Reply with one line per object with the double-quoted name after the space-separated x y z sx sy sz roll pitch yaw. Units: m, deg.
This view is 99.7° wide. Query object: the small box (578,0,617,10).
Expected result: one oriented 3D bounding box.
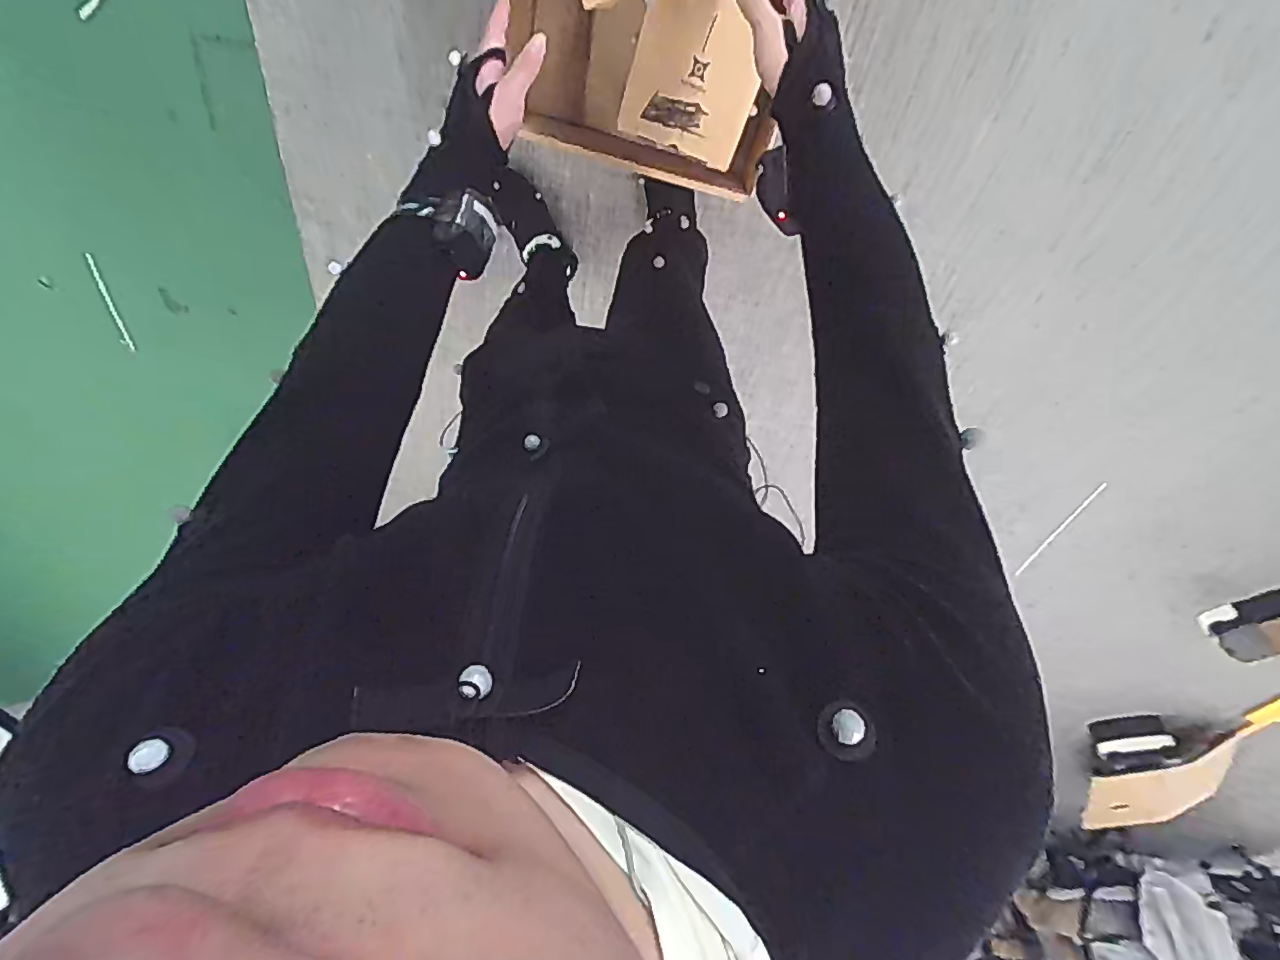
-0.001 -0.590 0.515 0.168 0.176 0.179 -11 129 16 "small box"
